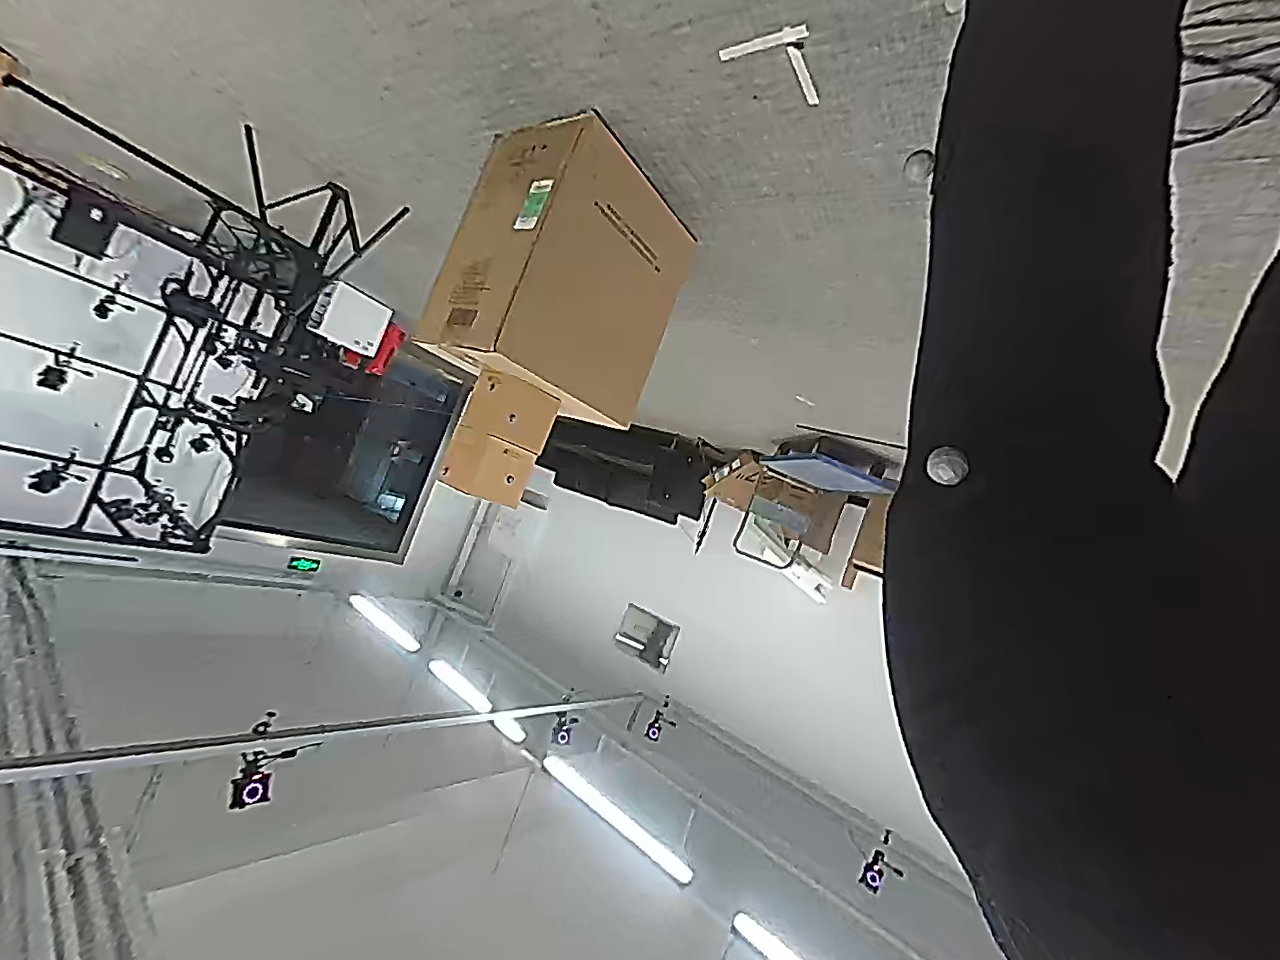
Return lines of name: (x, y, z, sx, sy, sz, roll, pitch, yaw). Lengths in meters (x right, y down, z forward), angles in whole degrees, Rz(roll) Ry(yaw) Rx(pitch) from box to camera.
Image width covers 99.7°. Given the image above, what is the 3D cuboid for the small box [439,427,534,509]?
small box: (-0.415, -0.036, 1.488, 0.179, 0.176, 0.168, 18, 176, 41)
